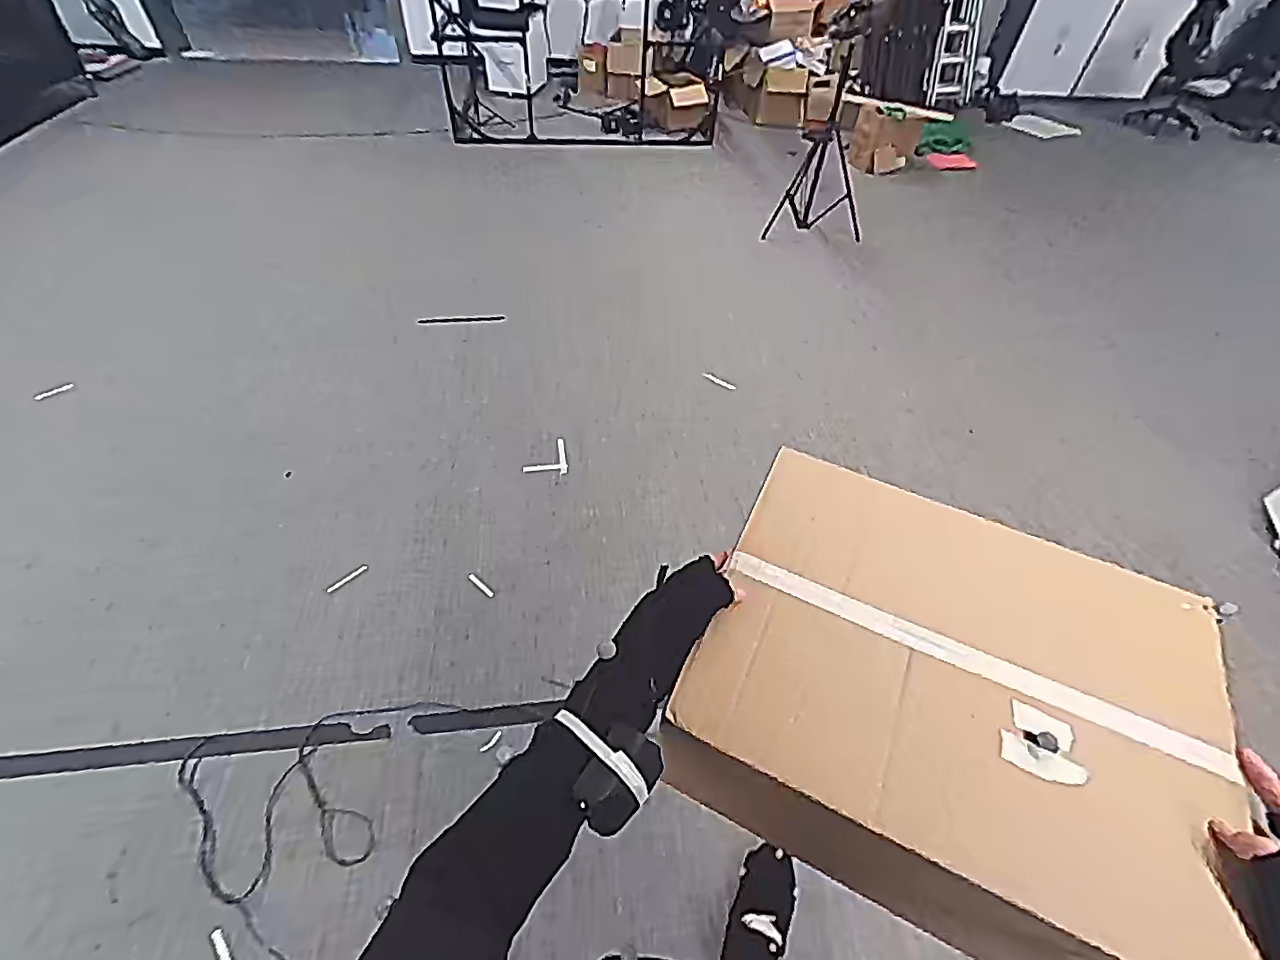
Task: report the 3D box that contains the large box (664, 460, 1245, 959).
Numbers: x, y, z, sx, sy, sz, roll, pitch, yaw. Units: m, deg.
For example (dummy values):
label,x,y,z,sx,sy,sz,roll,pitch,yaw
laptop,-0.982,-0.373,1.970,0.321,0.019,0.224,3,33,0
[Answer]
label,x,y,z,sx,sy,sz,roll,pitch,yaw
large box,0.272,0.242,0.592,0.408,0.320,0.320,22,57,15
